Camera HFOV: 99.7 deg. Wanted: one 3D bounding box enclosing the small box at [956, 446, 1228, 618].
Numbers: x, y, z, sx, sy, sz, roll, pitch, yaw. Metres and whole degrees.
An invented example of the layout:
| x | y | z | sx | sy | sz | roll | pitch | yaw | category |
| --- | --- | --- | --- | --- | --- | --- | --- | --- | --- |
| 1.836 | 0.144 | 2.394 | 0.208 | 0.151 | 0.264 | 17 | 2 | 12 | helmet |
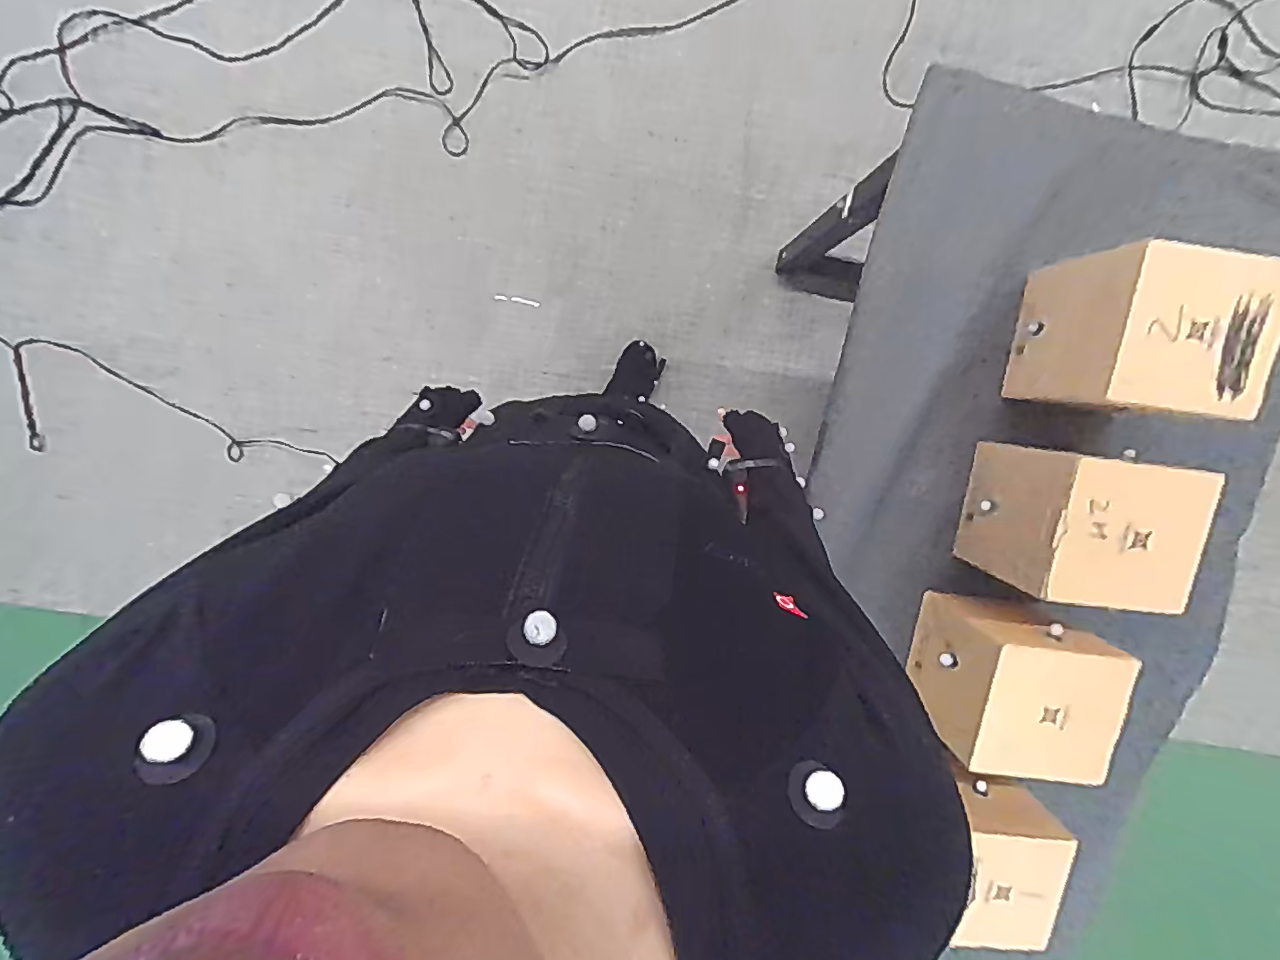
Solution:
| x | y | z | sx | sy | sz | roll | pitch | yaw | category |
| --- | --- | --- | --- | --- | --- | --- | --- | --- | --- |
| 0.542 | 0.055 | 0.676 | 0.179 | 0.176 | 0.168 | 7 | 99 | -4 | small box |

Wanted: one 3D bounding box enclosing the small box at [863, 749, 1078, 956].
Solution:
| x | y | z | sx | sy | sz | roll | pitch | yaw | category |
| --- | --- | --- | --- | --- | --- | --- | --- | --- | --- |
| 0.438 | 0.501 | 0.749 | 0.179 | 0.176 | 0.168 | 7 | 99 | -5 | small box |

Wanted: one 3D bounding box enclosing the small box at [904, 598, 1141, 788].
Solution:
| x | y | z | sx | sy | sz | roll | pitch | yaw | category |
| --- | --- | --- | --- | --- | --- | --- | --- | --- | --- |
| 0.482 | 0.267 | 0.713 | 0.179 | 0.176 | 0.168 | 8 | 99 | -4 | small box |
